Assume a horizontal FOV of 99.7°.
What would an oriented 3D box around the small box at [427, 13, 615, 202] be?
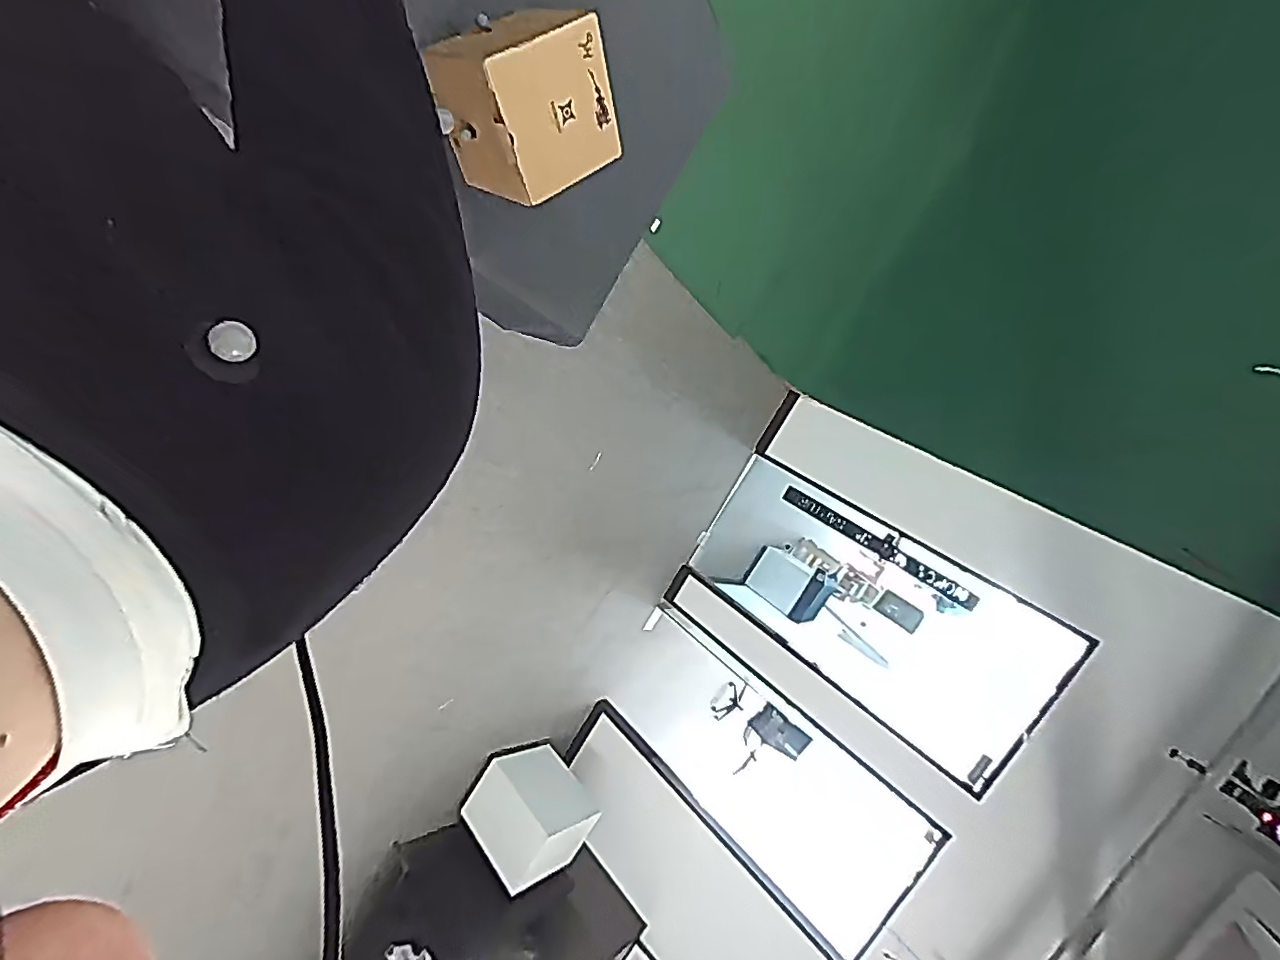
[{"bbox_3d":[-0.165,-0.514,0.744,0.179,0.176,0.168,-40,144,-20],"label":"small box"}]
